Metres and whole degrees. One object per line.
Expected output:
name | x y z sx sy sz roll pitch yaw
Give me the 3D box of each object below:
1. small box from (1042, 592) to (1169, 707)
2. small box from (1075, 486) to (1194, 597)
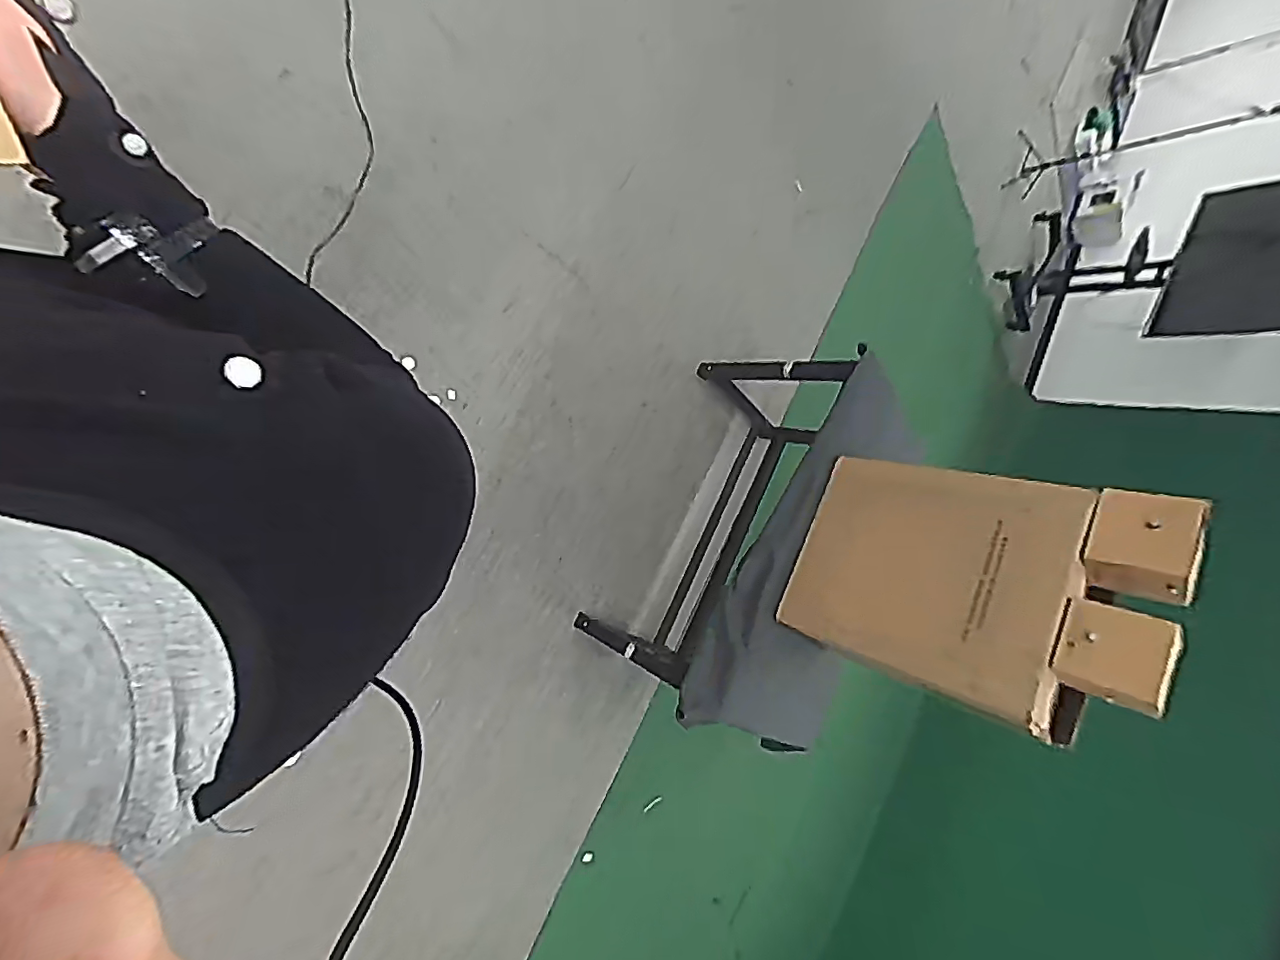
small box | 0.986 0.355 1.147 0.179 0.176 0.168 34 77 -40
small box | 1.083 0.129 1.190 0.168 0.176 0.179 39 71 -39
